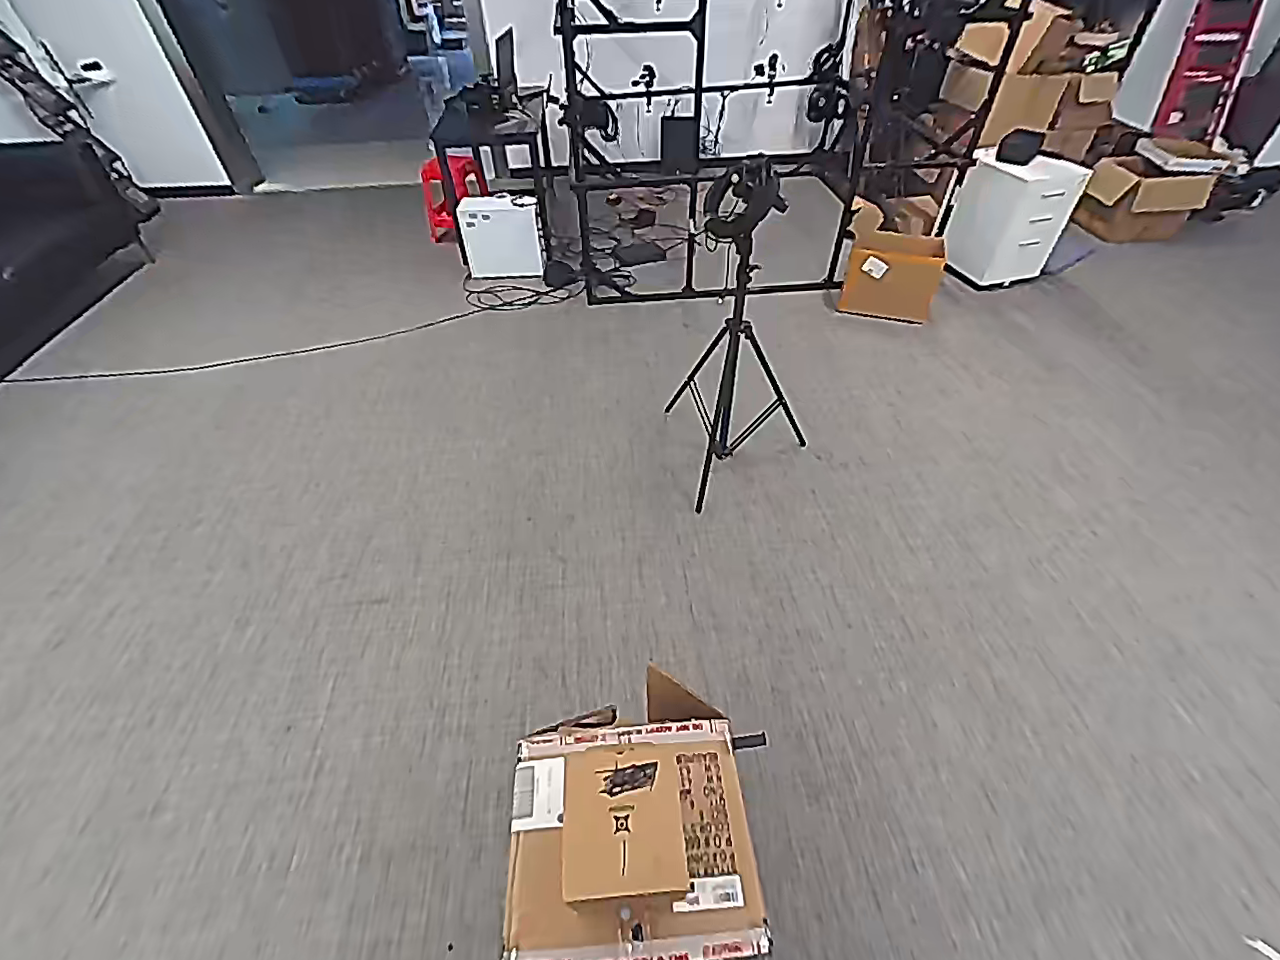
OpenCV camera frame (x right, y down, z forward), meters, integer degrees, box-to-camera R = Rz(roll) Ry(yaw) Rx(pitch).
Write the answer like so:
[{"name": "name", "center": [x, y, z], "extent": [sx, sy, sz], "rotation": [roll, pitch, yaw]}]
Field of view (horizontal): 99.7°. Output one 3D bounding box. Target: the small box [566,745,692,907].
[{"name": "small box", "center": [-0.018, 0.516, 0.806], "extent": [0.168, 0.176, 0.179], "rotation": [-4, 49, -2]}]
